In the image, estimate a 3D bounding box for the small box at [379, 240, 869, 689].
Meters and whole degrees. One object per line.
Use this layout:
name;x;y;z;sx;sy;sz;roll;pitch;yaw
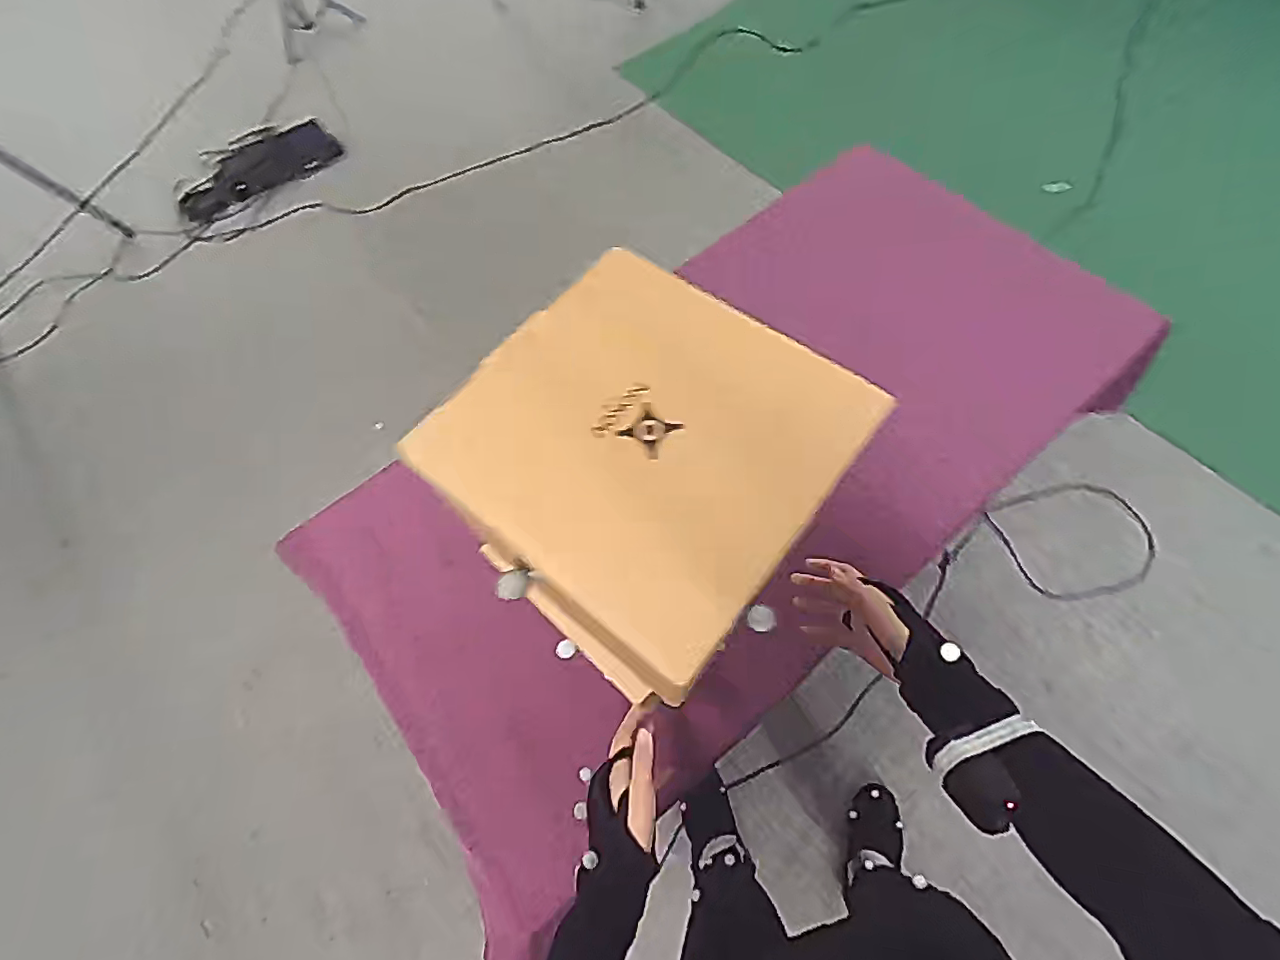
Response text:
small box;-0.003;0.004;0.327;0.179;0.176;0.168;35;73;19

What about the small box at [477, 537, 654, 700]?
small box;-0.004;0.068;0.476;0.168;0.176;0.179;40;75;19
